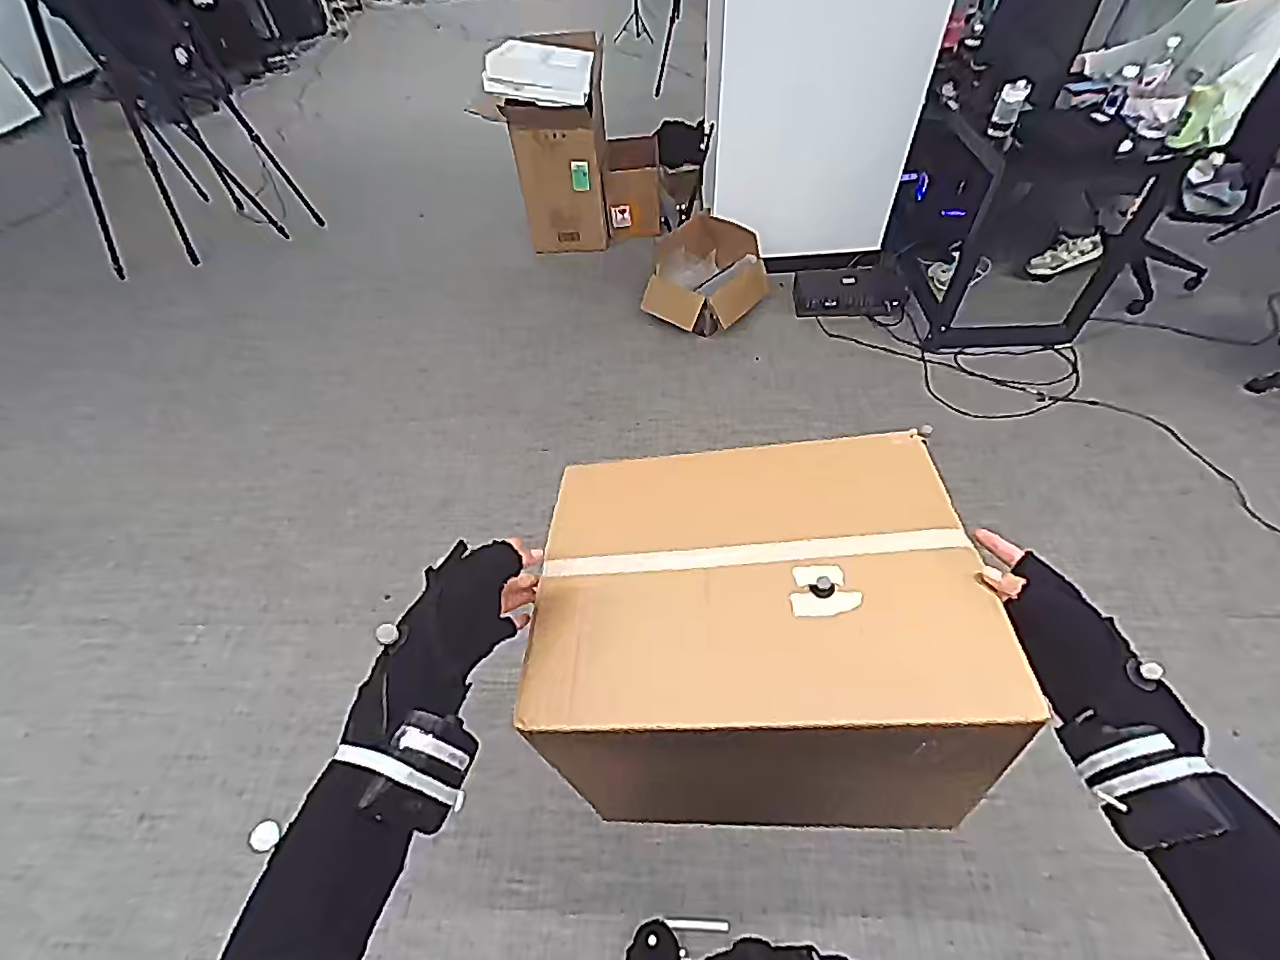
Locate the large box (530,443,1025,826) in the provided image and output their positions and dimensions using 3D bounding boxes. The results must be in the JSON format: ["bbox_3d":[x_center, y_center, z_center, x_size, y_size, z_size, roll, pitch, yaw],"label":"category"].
[{"bbox_3d":[0.132,0.192,0.641,0.408,0.320,0.320,-6,44,11],"label":"large box"}]
